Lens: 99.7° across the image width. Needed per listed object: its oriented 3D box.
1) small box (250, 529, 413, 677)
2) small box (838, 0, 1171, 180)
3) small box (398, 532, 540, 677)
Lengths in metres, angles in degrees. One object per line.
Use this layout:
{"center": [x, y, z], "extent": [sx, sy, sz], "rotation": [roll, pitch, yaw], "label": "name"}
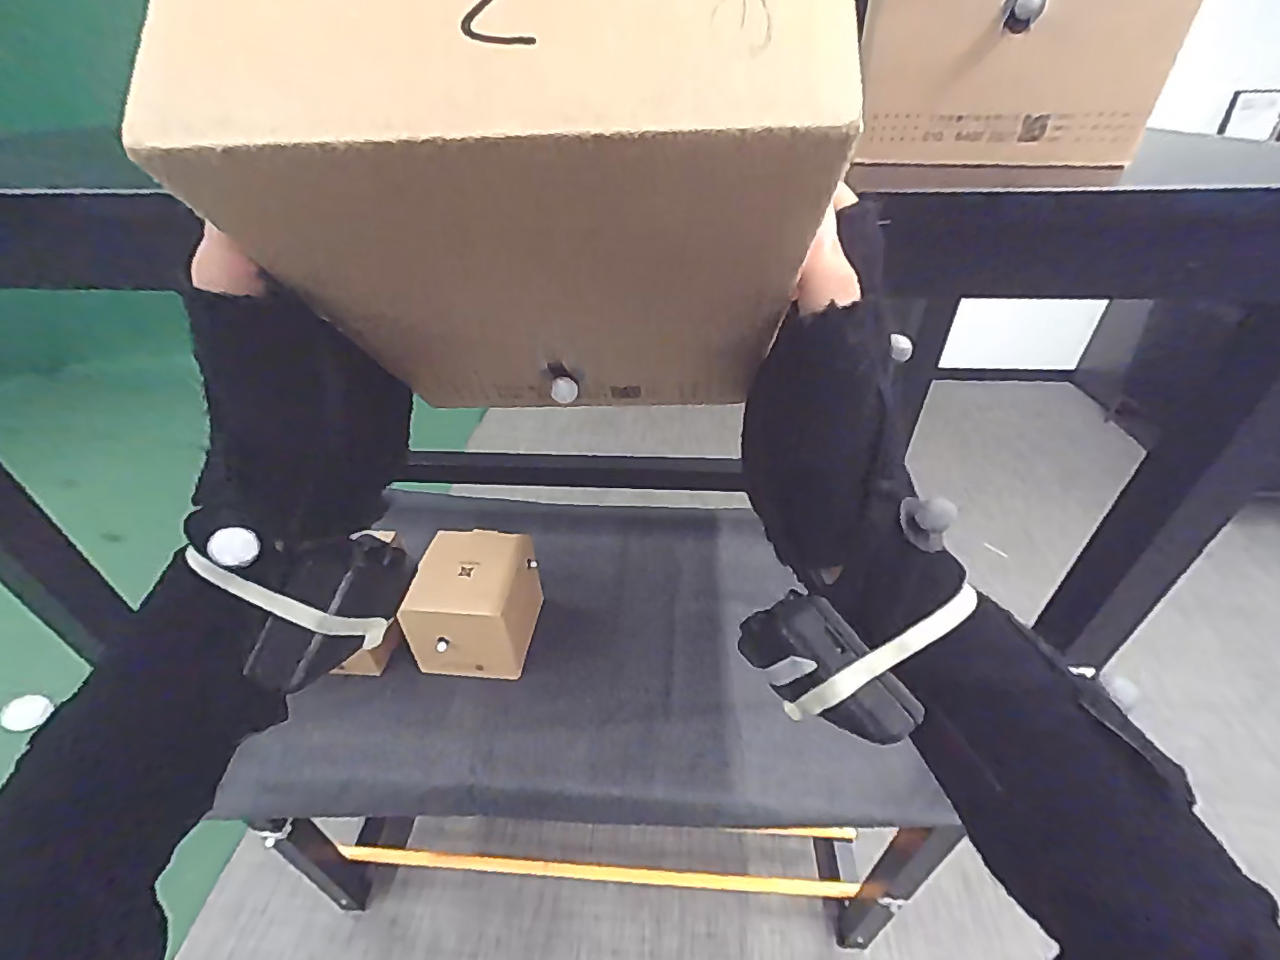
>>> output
{"center": [-0.500, 0.205, 0.917], "extent": [0.168, 0.176, 0.179], "rotation": [2, 37, 3], "label": "small box"}
{"center": [0.244, -0.319, 0.385], "extent": [0.168, 0.176, 0.179], "rotation": [9, 37, 12], "label": "small box"}
{"center": [-0.273, 0.210, 0.911], "extent": [0.168, 0.176, 0.179], "rotation": [3, 36, 4], "label": "small box"}
